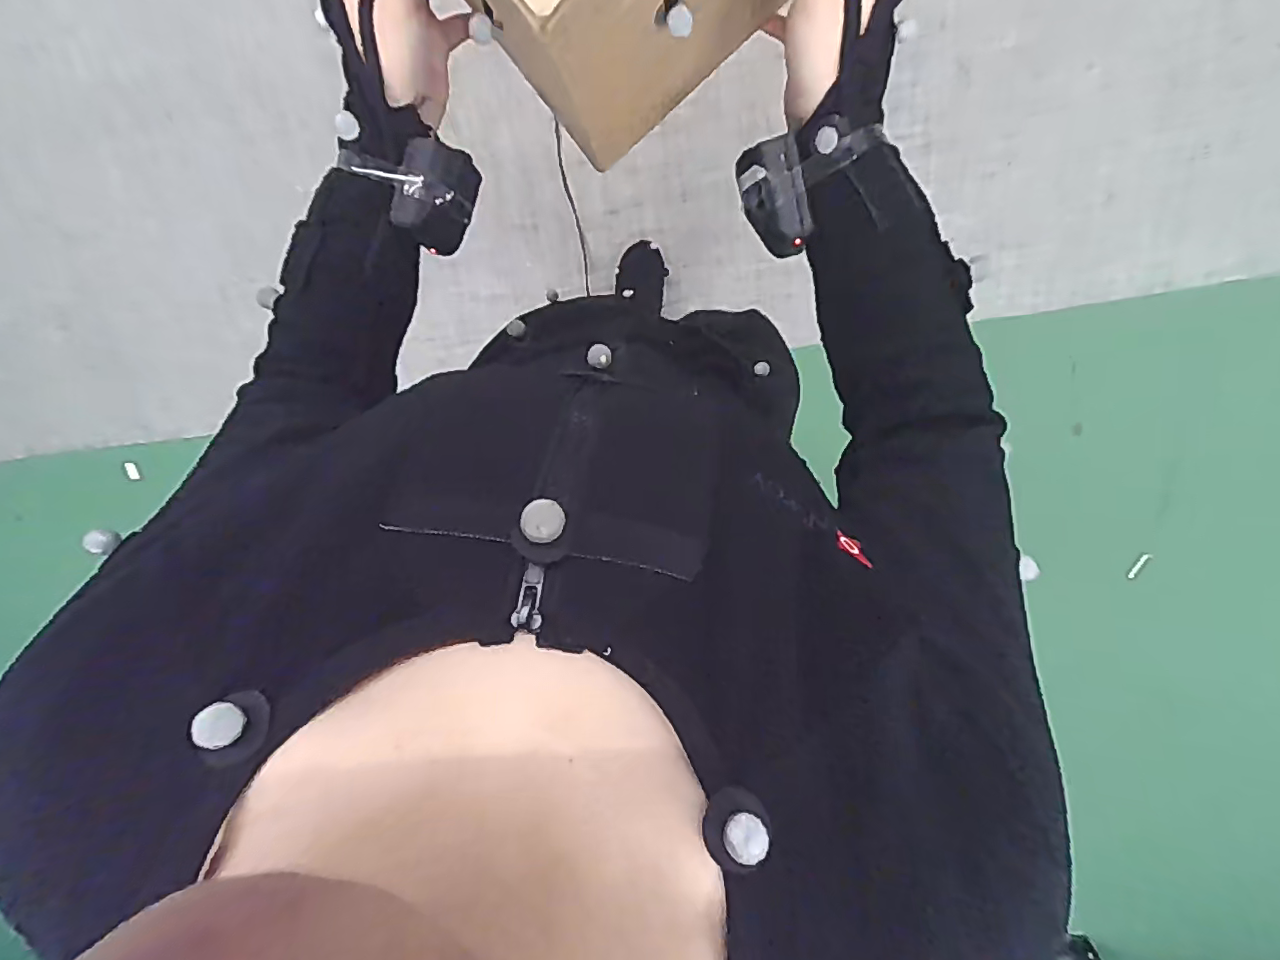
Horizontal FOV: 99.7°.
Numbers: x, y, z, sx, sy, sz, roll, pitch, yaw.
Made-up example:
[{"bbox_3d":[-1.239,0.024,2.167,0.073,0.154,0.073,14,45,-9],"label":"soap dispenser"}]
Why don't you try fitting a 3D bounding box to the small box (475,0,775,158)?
[{"bbox_3d":[-0.021,-0.331,0.306,0.179,0.176,0.168,-38,94,11],"label":"small box"}]
